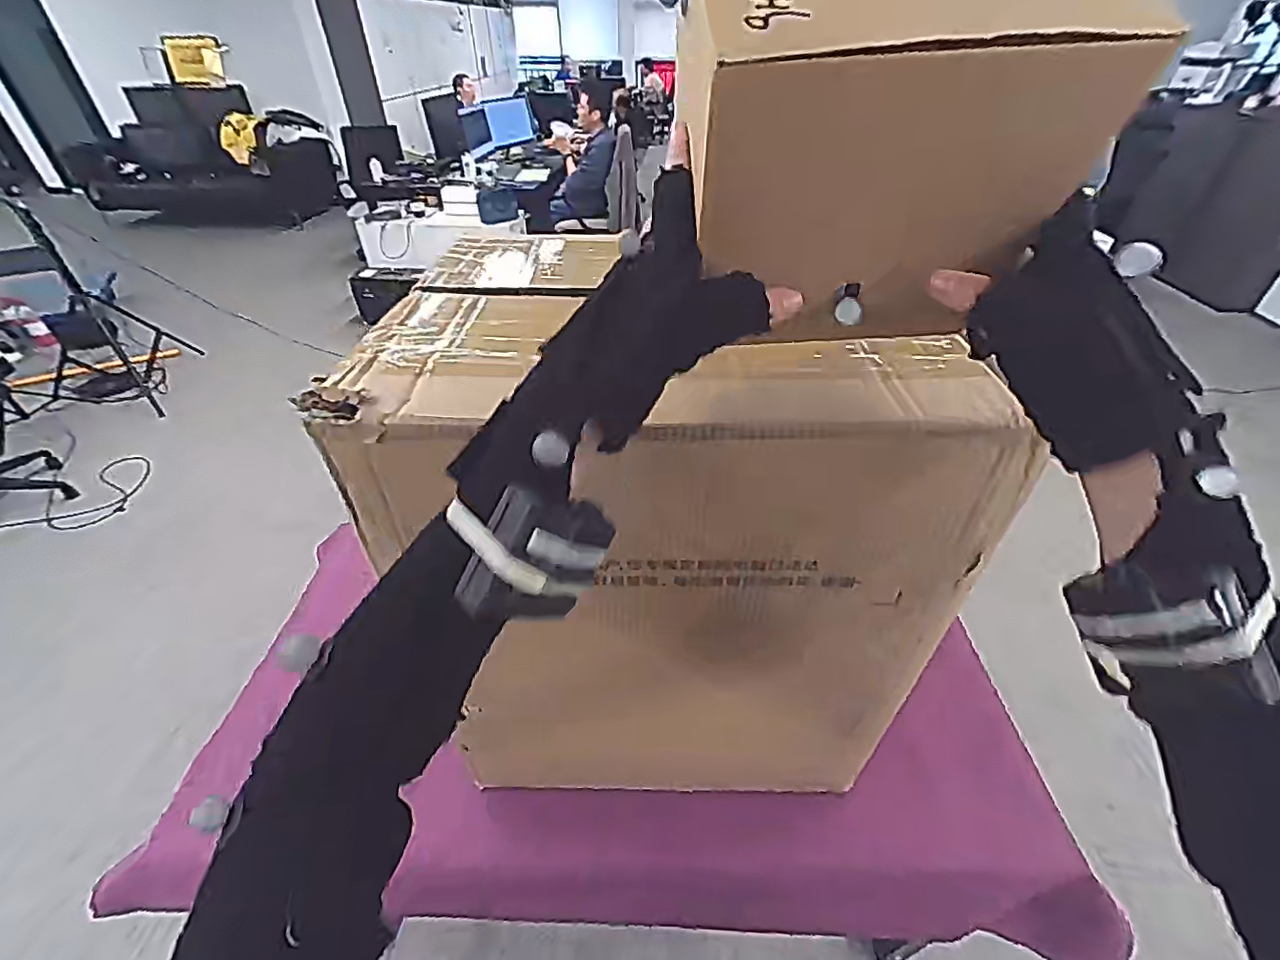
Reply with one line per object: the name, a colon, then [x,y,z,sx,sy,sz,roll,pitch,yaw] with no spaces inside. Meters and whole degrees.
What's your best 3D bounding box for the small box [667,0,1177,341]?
small box: [0.109,-0.194,0.301,0.179,0.176,0.168,-2,67,0]
